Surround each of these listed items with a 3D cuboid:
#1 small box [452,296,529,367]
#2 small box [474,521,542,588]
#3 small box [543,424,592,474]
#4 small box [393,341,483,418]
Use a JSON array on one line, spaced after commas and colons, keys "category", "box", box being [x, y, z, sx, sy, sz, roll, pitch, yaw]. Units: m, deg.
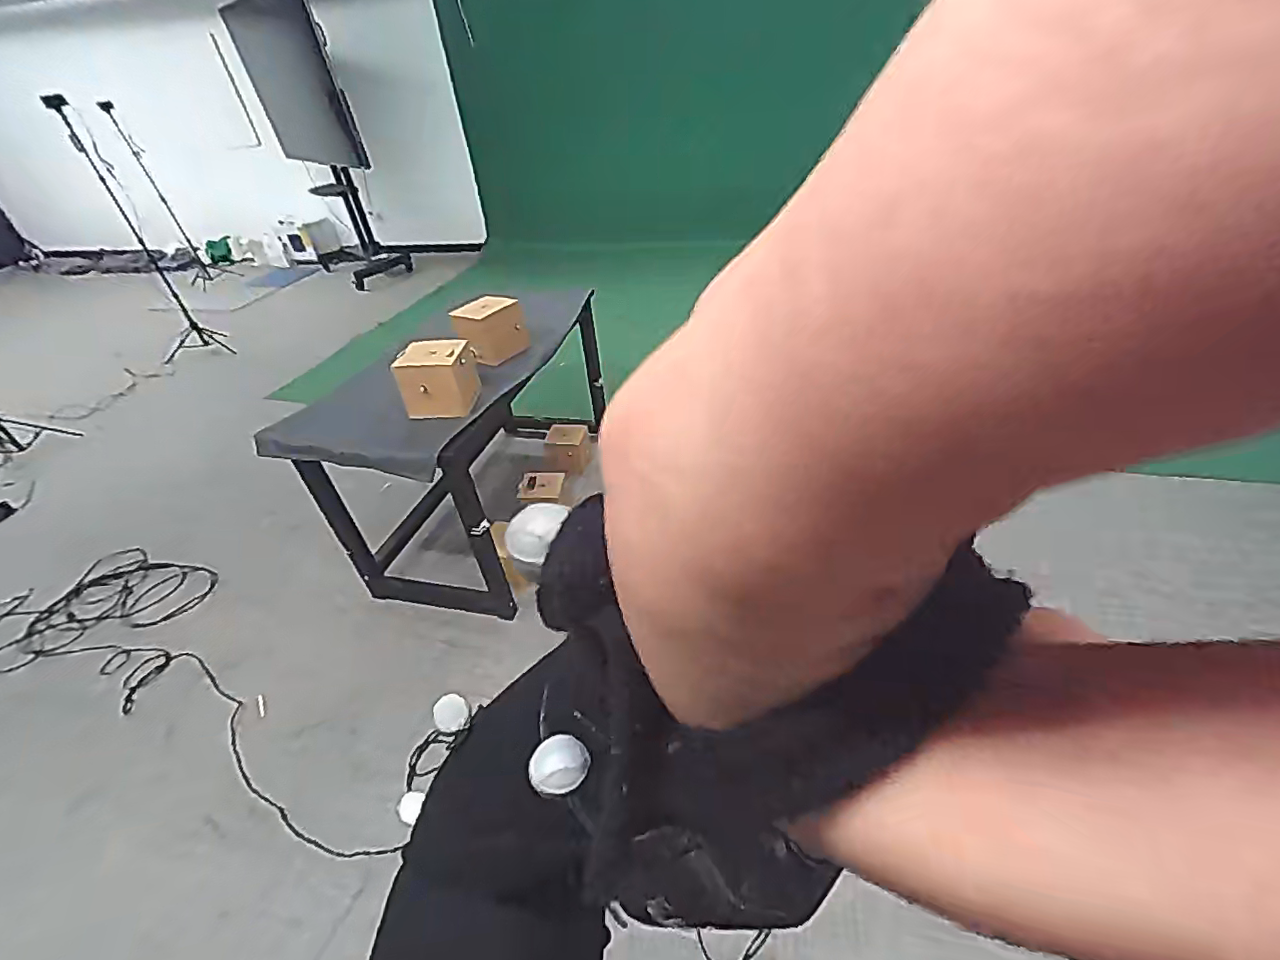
[{"category": "small box", "box": [-0.497, -0.504, 1.834, 0.168, 0.176, 0.179, 18, 45, 31]}, {"category": "small box", "box": [-0.486, 0.281, 2.022, 0.179, 0.176, 0.168, 8, 41, 18]}, {"category": "small box", "box": [-0.333, -0.144, 2.530, 0.179, 0.176, 0.168, 3, 39, 10]}, {"category": "small box", "box": [-0.579, -0.290, 1.573, 0.179, 0.176, 0.168, -2, 39, 4]}]
